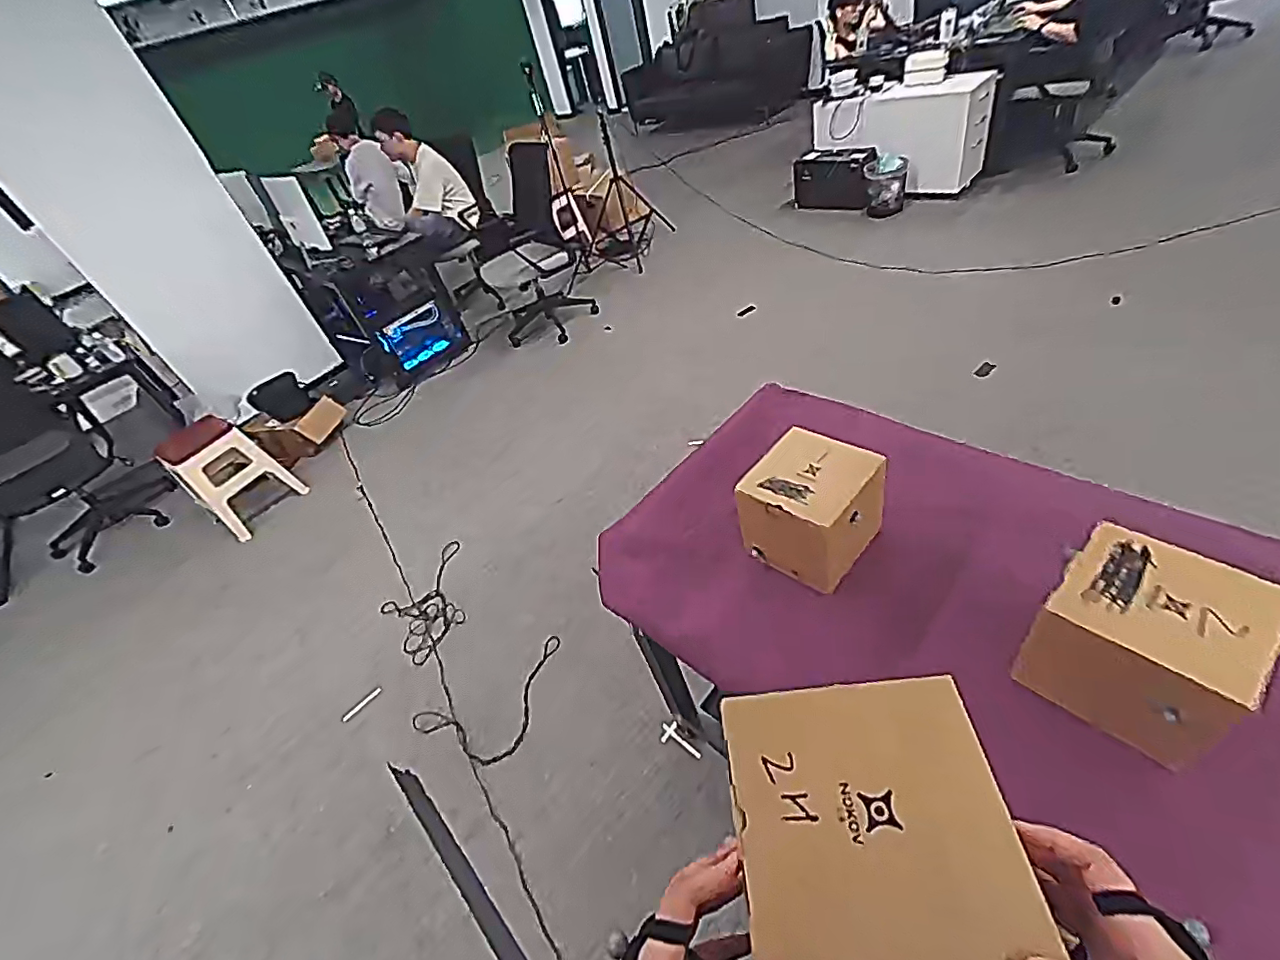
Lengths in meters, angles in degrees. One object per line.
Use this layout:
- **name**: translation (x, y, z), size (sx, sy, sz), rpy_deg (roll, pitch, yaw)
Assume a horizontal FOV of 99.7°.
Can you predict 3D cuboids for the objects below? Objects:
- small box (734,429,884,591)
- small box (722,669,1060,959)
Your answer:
- **small box**: translation (0.282, 0.050, 0.895), size (0.168, 0.176, 0.179), rpy_deg (27, 58, 38)
- **small box**: translation (0.164, 0.266, 0.423), size (0.179, 0.176, 0.168), rpy_deg (-9, 48, 7)
